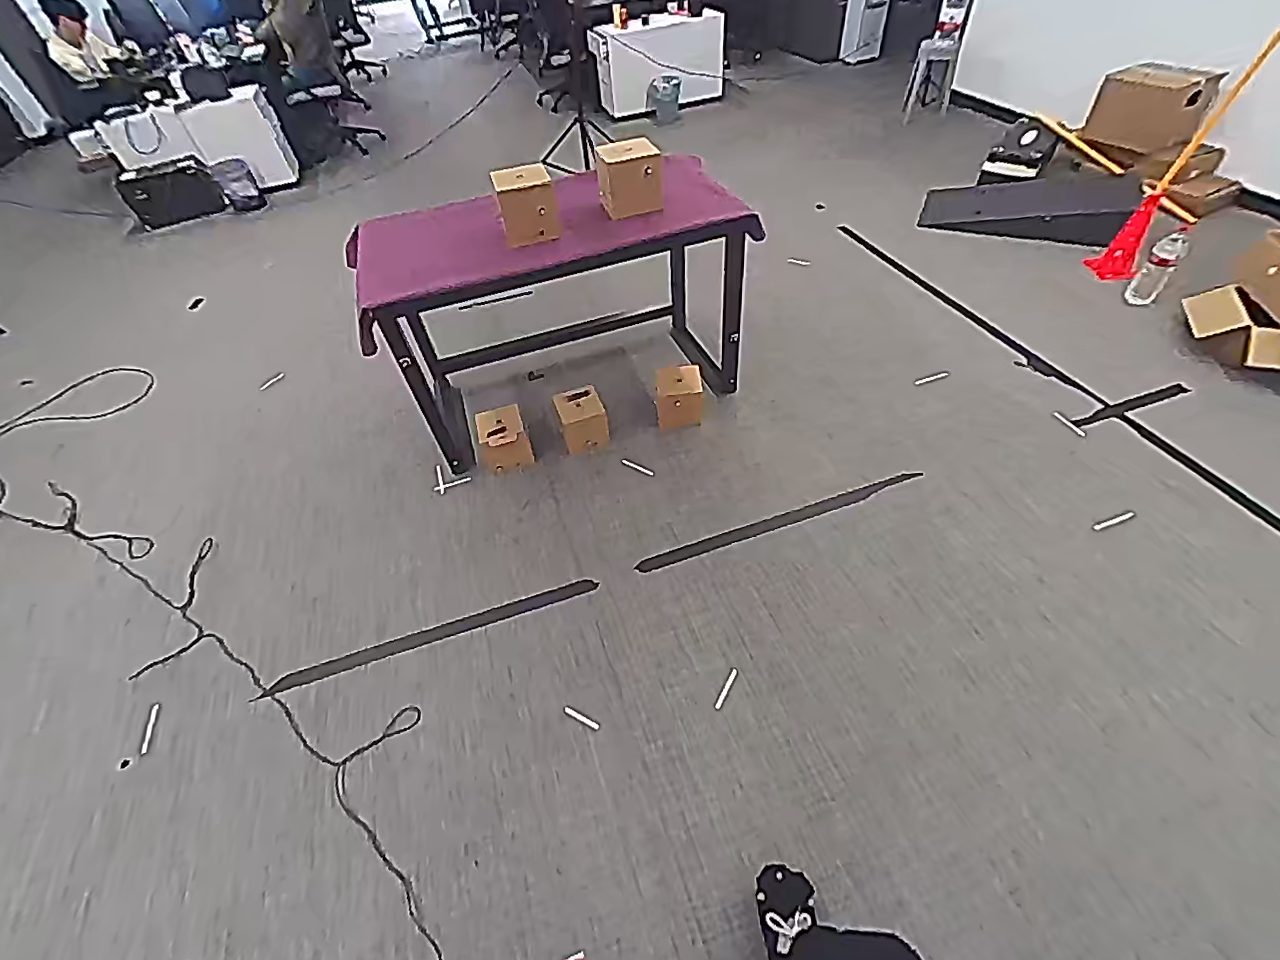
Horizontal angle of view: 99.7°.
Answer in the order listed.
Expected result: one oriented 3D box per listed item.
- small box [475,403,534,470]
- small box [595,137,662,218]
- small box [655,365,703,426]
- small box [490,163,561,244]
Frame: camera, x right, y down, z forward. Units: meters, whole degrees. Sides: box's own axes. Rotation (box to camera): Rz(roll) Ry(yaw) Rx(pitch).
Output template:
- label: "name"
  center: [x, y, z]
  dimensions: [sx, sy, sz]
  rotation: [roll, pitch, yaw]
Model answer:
- label: "small box"
  center: [-0.512, -0.159, 2.053]
  dimensions: [0.168, 0.176, 0.179]
  rotation: [-17, 49, -9]
- label: "small box"
  center: [-0.033, -0.970, 1.737]
  dimensions: [0.179, 0.176, 0.168]
  rotation: [-17, 49, -8]
- label: "small box"
  center: [0.152, -0.332, 2.136]
  dimensions: [0.179, 0.176, 0.168]
  rotation: [-6, 50, 3]
- label: "small box"
  center: [-0.351, -0.846, 1.665]
  dimensions: [0.168, 0.176, 0.179]
  rotation: [-16, 47, -9]
